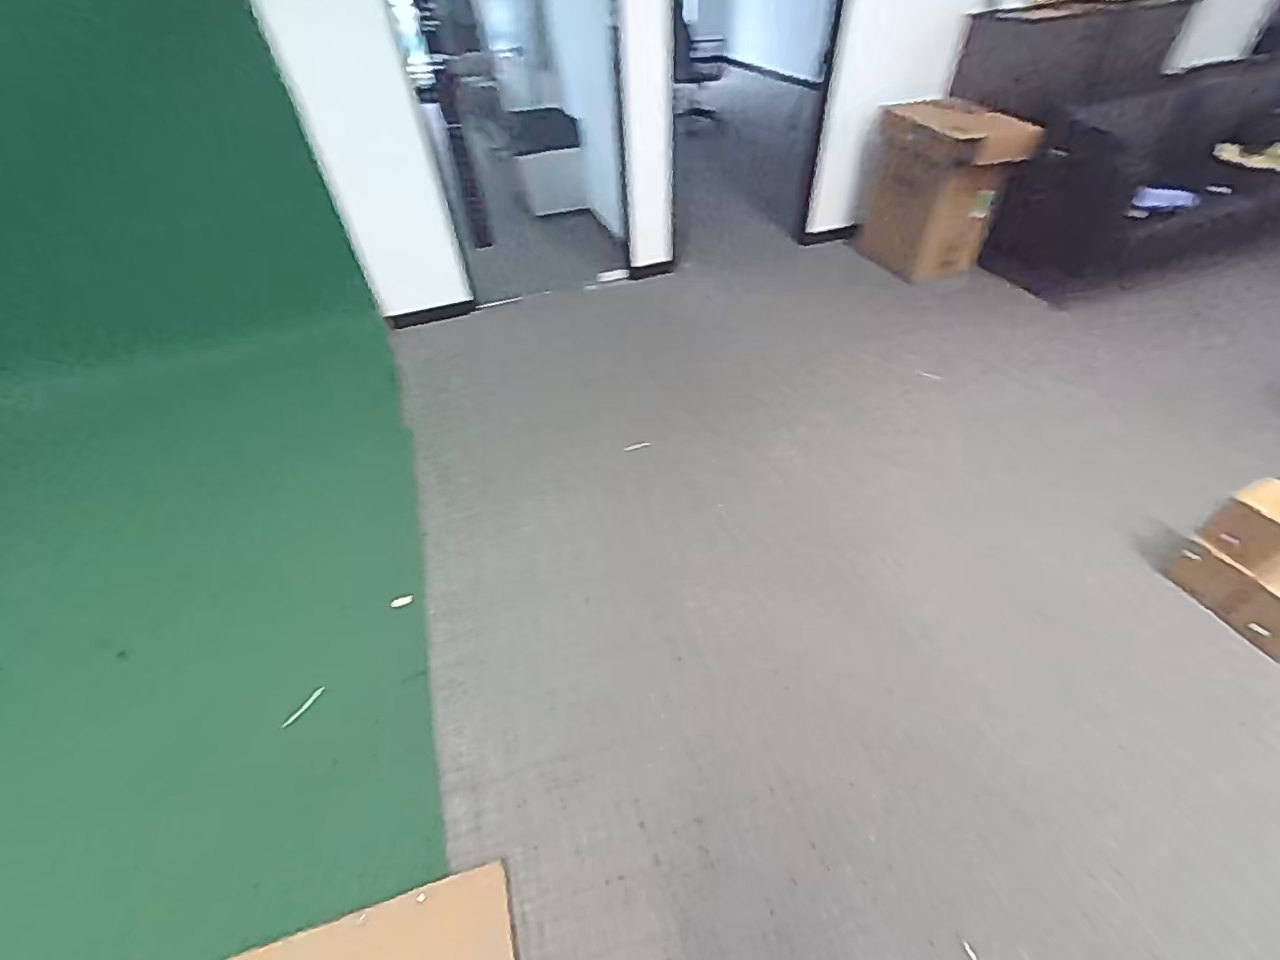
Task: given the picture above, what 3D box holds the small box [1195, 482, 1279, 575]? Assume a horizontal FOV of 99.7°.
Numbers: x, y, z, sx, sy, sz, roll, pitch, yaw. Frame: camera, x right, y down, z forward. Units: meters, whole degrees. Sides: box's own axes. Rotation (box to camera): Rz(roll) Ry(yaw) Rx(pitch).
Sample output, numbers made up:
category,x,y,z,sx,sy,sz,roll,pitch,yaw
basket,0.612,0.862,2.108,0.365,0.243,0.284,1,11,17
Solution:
category,x,y,z,sx,sy,sz,roll,pitch,yaw
small box,1.743,0.138,1.519,0.179,0.176,0.168,-18,47,-14
